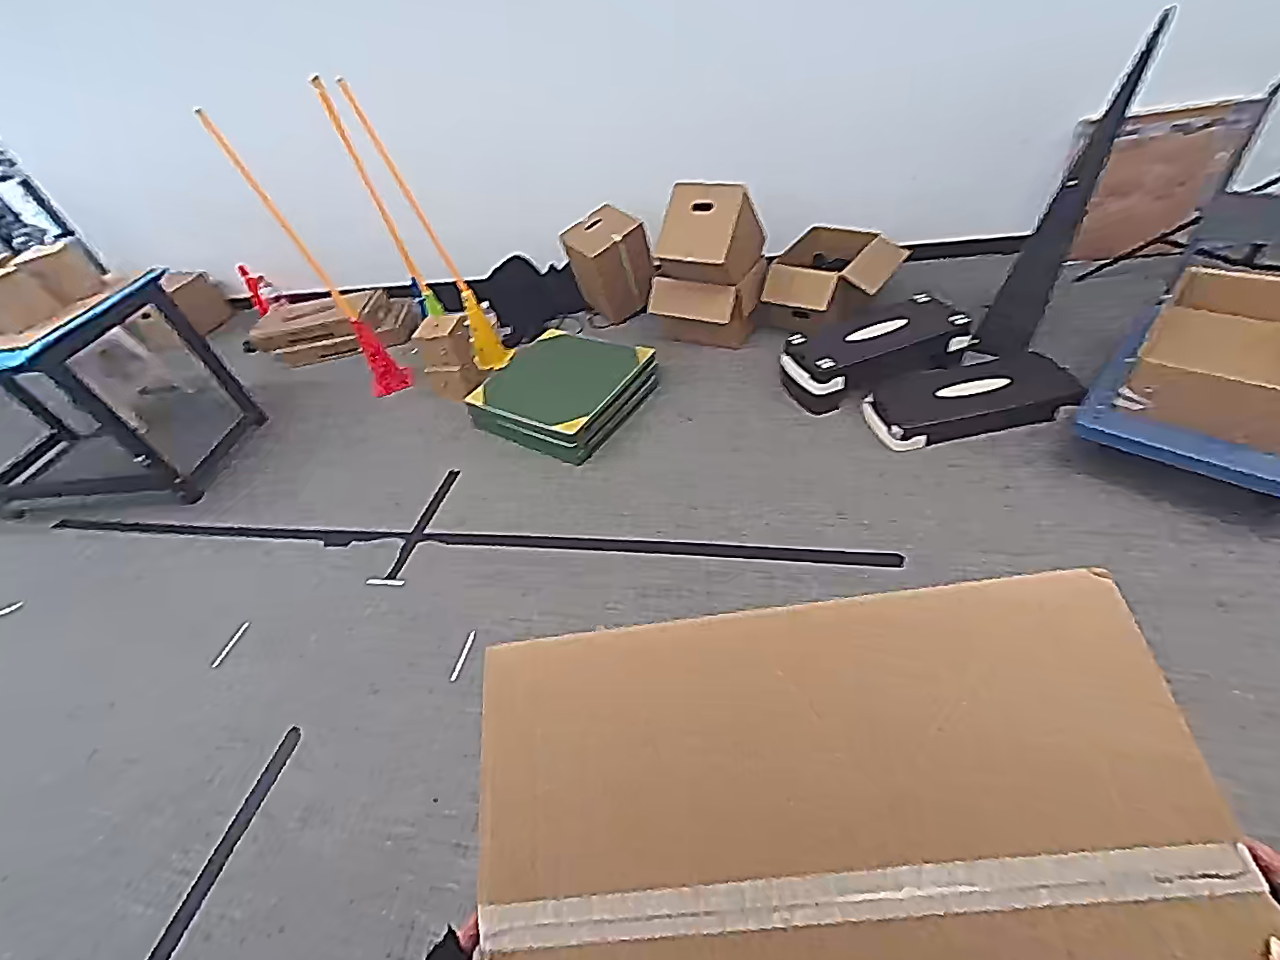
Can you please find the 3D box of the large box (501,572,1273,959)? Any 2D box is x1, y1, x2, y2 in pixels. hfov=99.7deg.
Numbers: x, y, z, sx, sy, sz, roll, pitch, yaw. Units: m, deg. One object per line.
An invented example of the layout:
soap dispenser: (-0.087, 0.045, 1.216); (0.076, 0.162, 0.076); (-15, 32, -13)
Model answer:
large box: (0.134, 0.292, 0.437); (0.408, 0.320, 0.320); (-10, 65, 6)
